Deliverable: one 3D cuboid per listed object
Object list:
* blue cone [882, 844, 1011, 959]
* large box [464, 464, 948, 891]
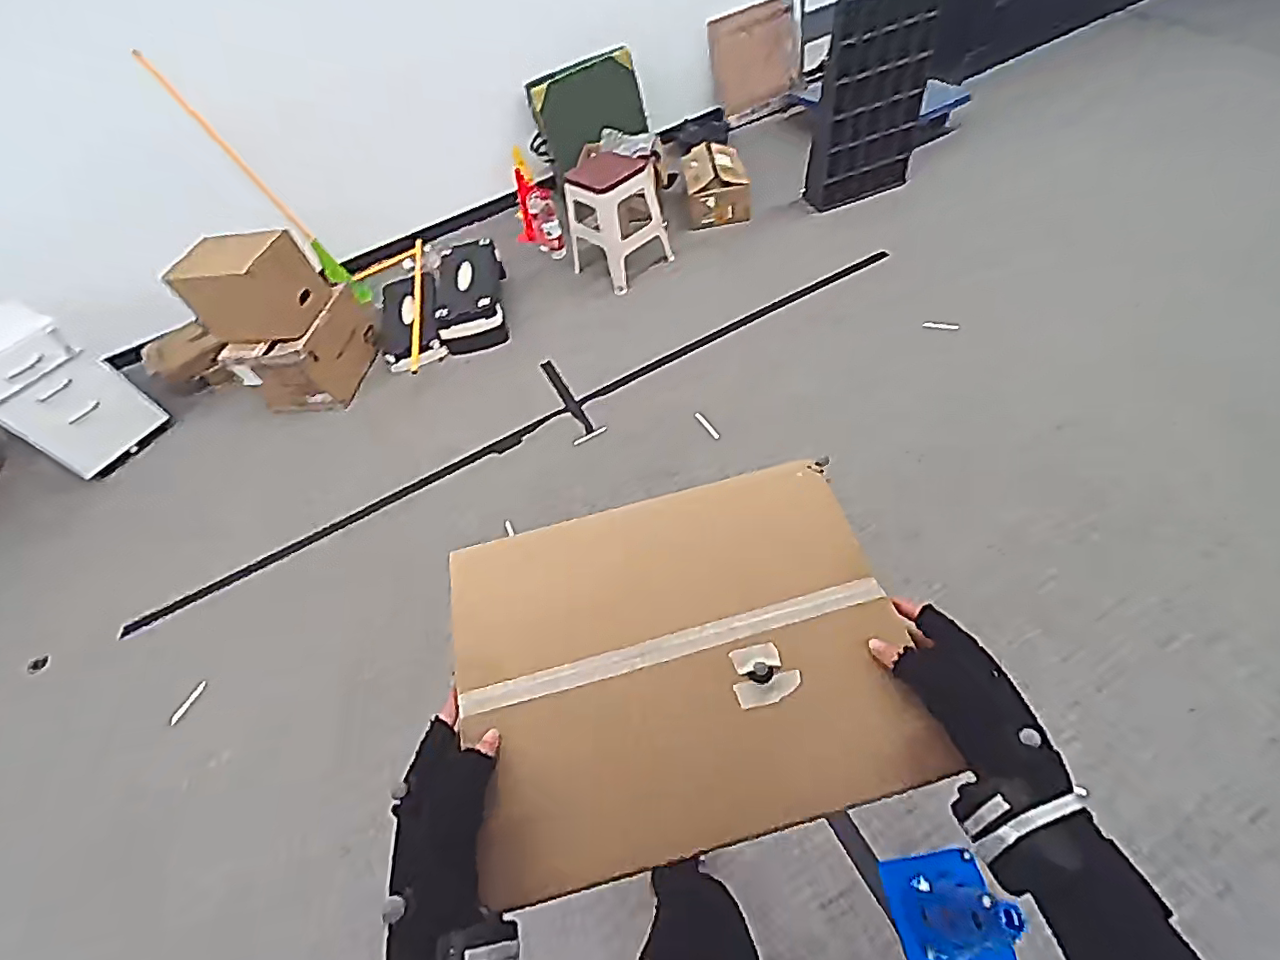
[{"bbox_3d":[0.583,0.759,0.964,0.193,0.380,0.192,-11,50,4],"label":"blue cone"},{"bbox_3d":[0.047,0.234,0.646,0.408,0.320,0.320,-14,58,-3],"label":"large box"}]
